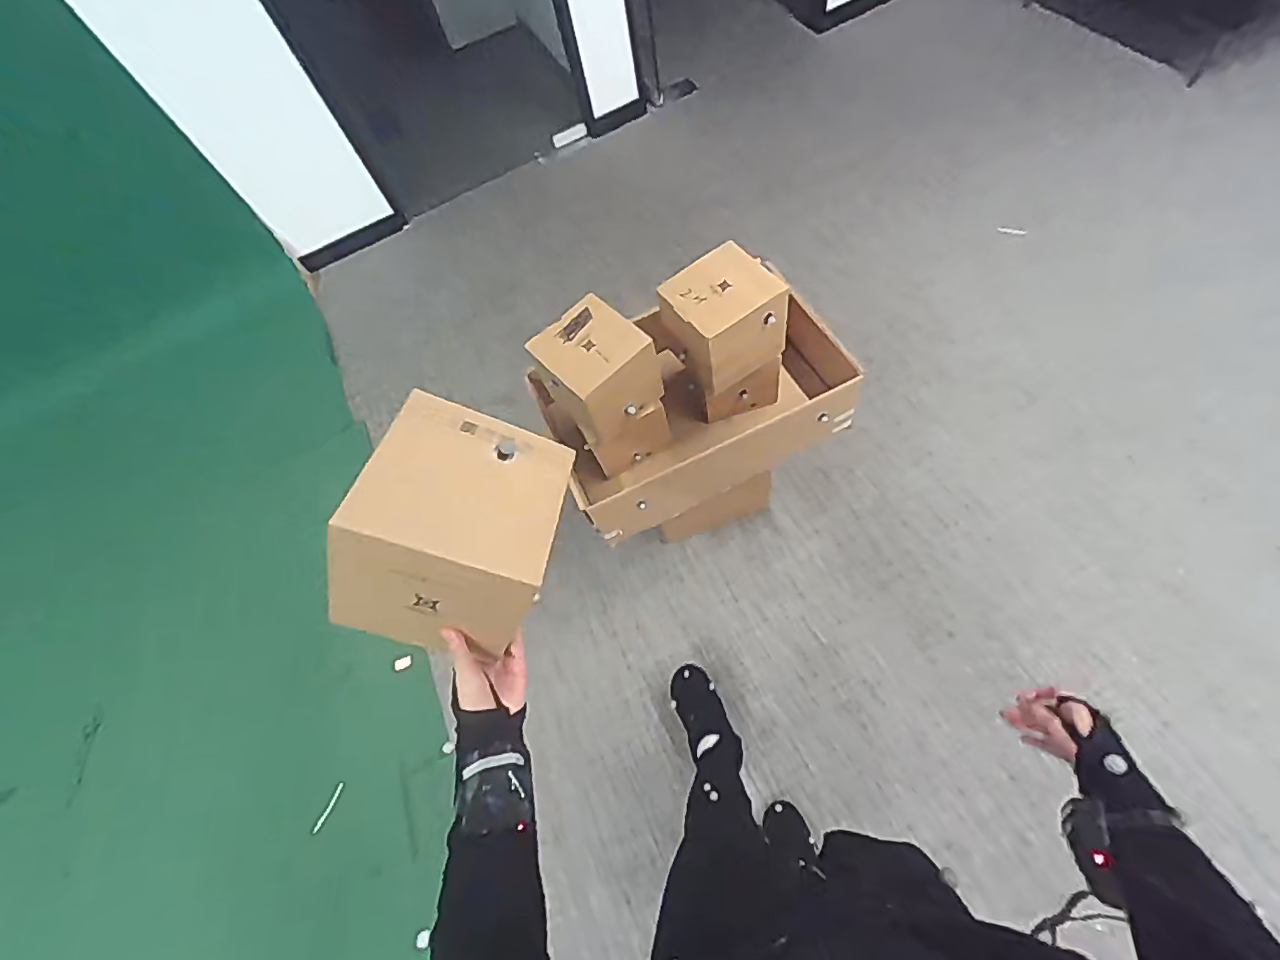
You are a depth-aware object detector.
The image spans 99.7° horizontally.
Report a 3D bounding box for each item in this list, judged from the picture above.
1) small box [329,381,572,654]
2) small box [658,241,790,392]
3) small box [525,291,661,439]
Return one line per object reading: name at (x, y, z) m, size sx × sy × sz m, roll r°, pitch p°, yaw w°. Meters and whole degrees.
small box at (-0.178, 0.039, 0.531) m, size 0.168 × 0.179 × 0.176 m, roll 21°, pitch 44°, yaw -13°
small box at (0.156, -0.303, 1.019) m, size 0.179 × 0.176 × 0.168 m, roll -33°, pitch 61°, yaw -7°
small box at (-0.080, -0.209, 1.017) m, size 0.168 × 0.176 × 0.179 m, roll -41°, pitch 65°, yaw -10°
